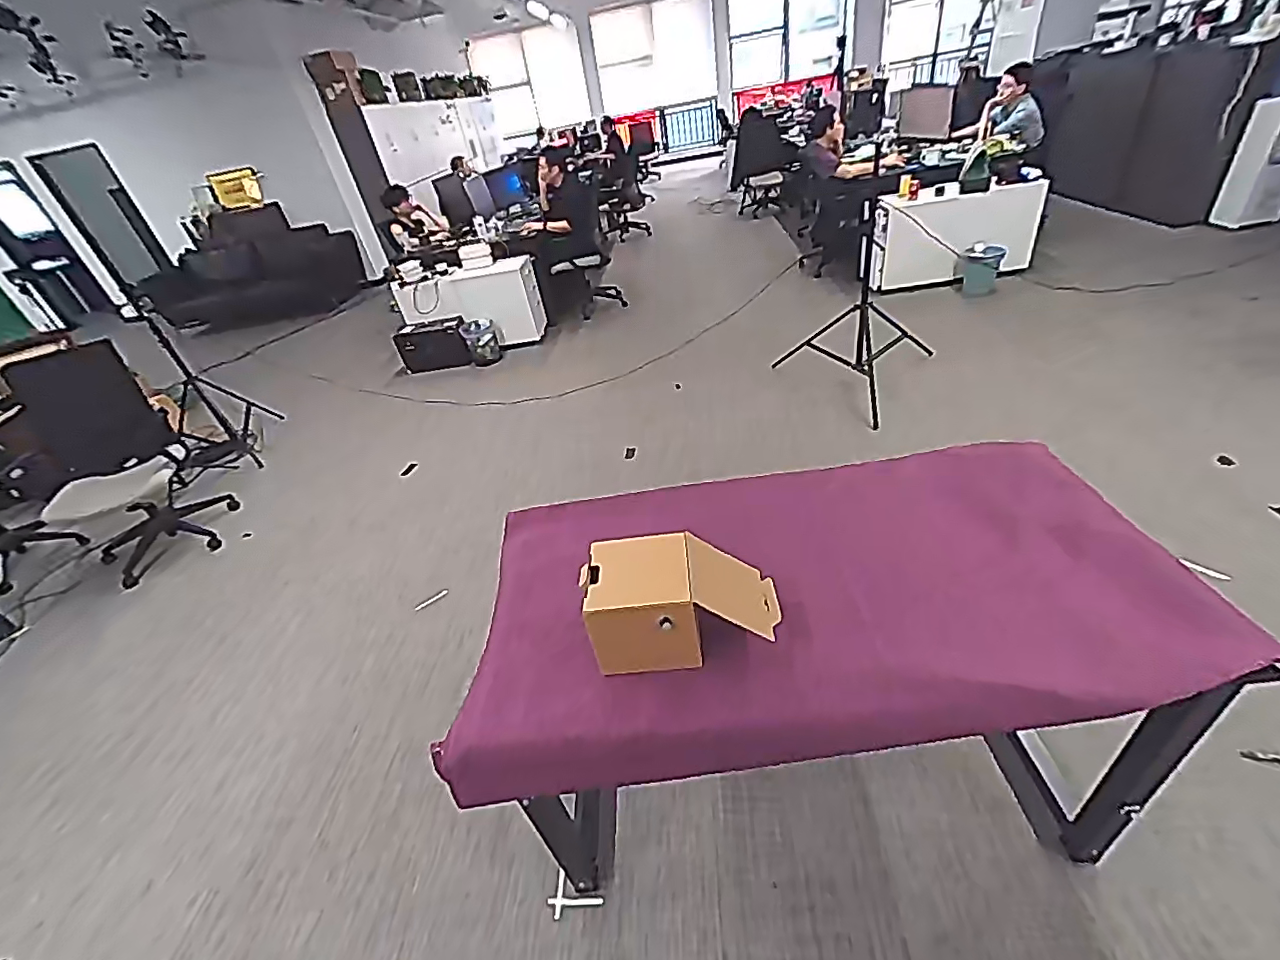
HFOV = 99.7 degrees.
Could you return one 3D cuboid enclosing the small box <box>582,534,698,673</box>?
[{"bbox_3d":[0.009,0.218,0.952,0.179,0.176,0.168,-7,34,6],"label":"small box"}]
